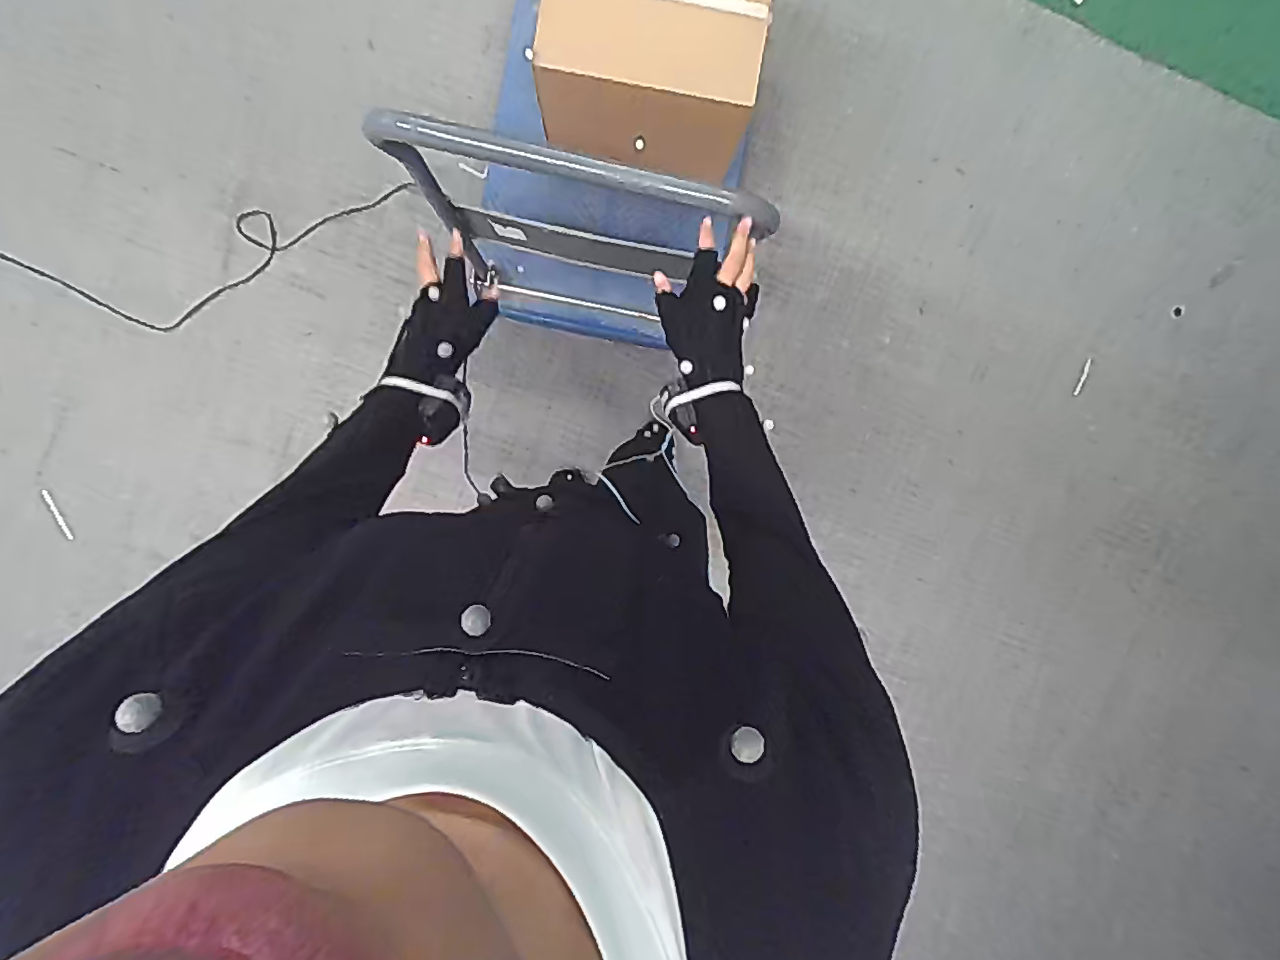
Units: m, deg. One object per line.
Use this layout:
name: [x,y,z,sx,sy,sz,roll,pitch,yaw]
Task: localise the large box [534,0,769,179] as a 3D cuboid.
large box: [0.027,-0.864,1.098,0.408,0.320,0.320,9,93,-3]
